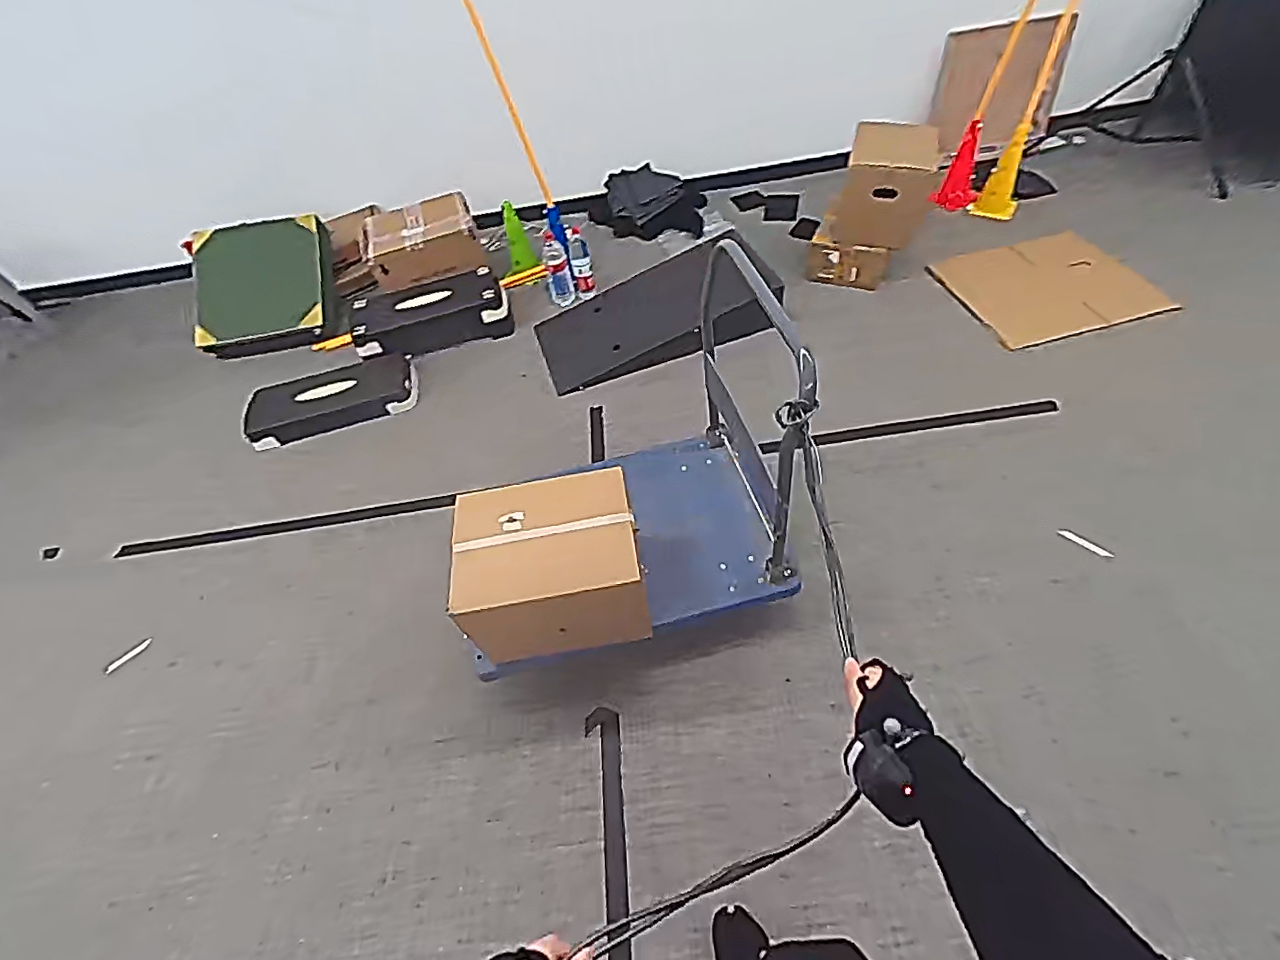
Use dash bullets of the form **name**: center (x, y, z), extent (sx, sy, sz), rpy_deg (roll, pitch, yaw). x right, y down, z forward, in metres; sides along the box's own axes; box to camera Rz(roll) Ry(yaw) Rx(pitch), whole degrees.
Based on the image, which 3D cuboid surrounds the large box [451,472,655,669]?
- **large box**: center (-0.197, 0.226, 1.309), extent (0.408, 0.320, 0.320), rpy_deg (-11, 51, 0)
